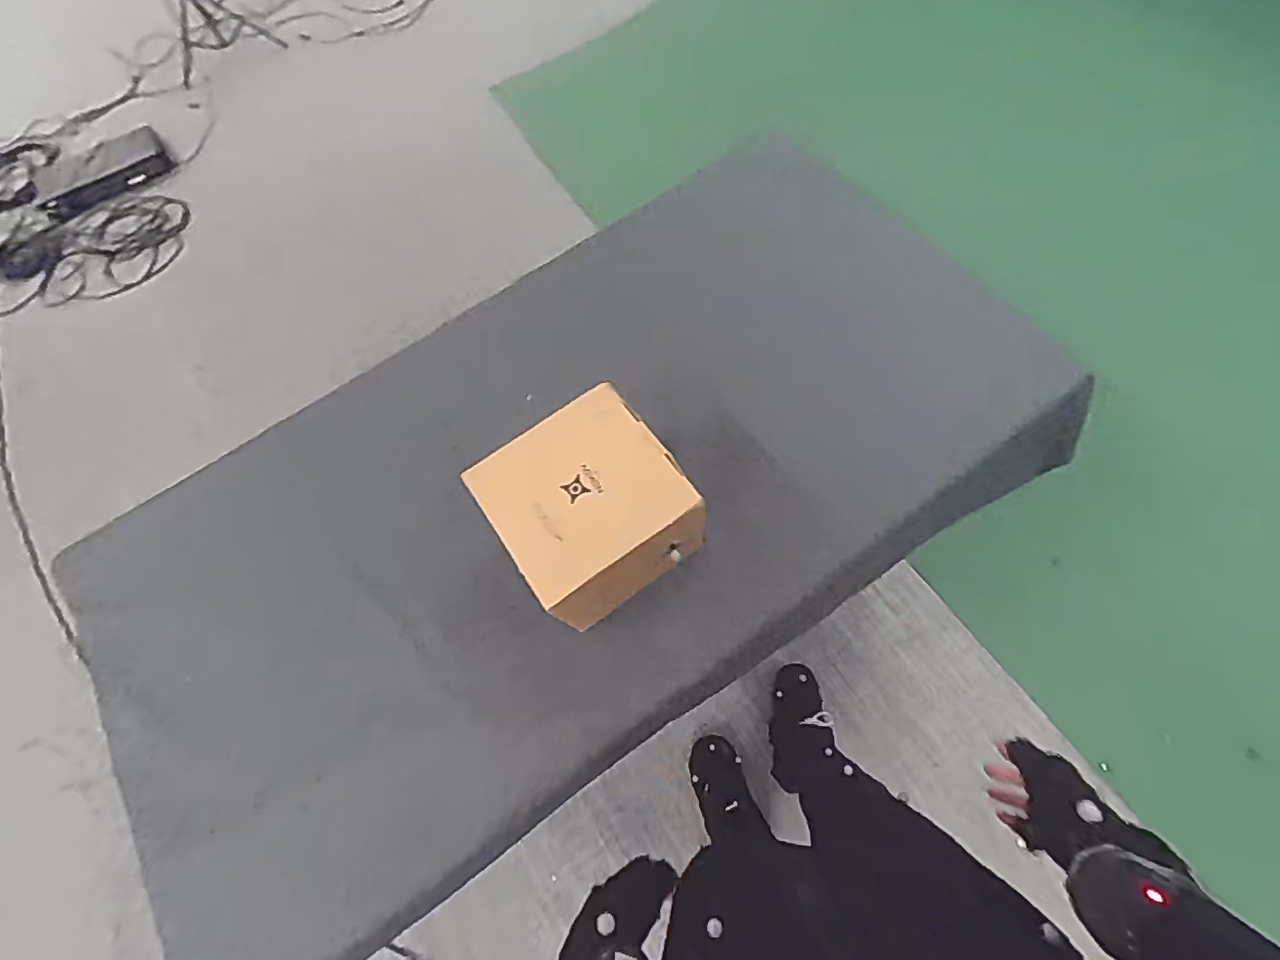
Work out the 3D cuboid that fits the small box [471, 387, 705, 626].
[{"bbox_3d":[-0.047,0.038,0.596,0.179,0.176,0.168,-36,68,-8],"label":"small box"}]
